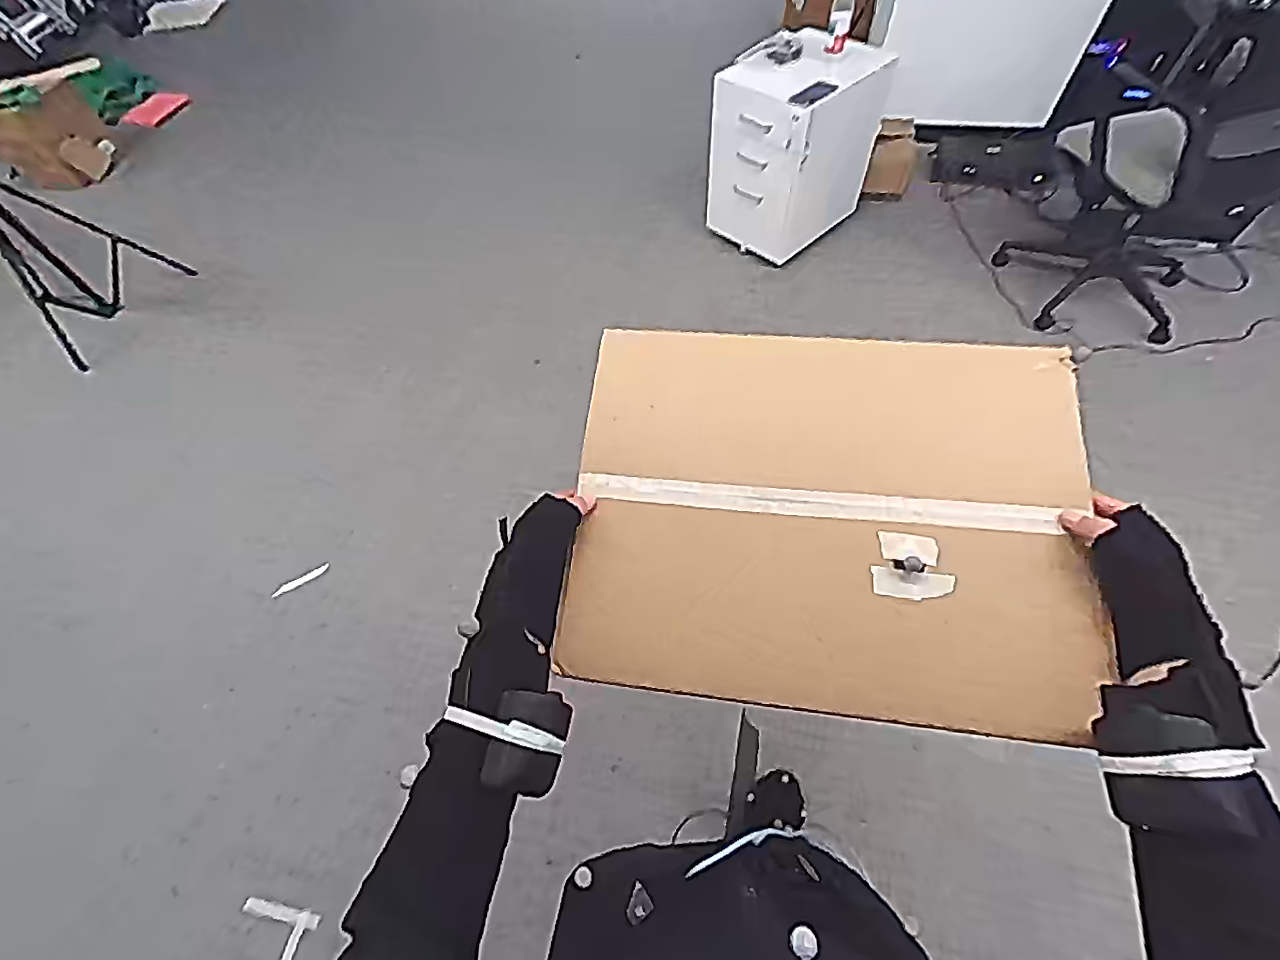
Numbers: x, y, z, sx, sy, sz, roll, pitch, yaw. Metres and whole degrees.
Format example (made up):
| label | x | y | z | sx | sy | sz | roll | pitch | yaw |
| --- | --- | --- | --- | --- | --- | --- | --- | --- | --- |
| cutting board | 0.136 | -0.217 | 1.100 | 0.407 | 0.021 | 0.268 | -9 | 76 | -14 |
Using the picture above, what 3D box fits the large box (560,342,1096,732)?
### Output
| label | x | y | z | sx | sy | sz | roll | pitch | yaw |
| --- | --- | --- | --- | --- | --- | --- | --- | --- | --- |
| large box | 0.157 | 0.070 | 0.593 | 0.408 | 0.320 | 0.320 | 4 | 73 | 7 |
